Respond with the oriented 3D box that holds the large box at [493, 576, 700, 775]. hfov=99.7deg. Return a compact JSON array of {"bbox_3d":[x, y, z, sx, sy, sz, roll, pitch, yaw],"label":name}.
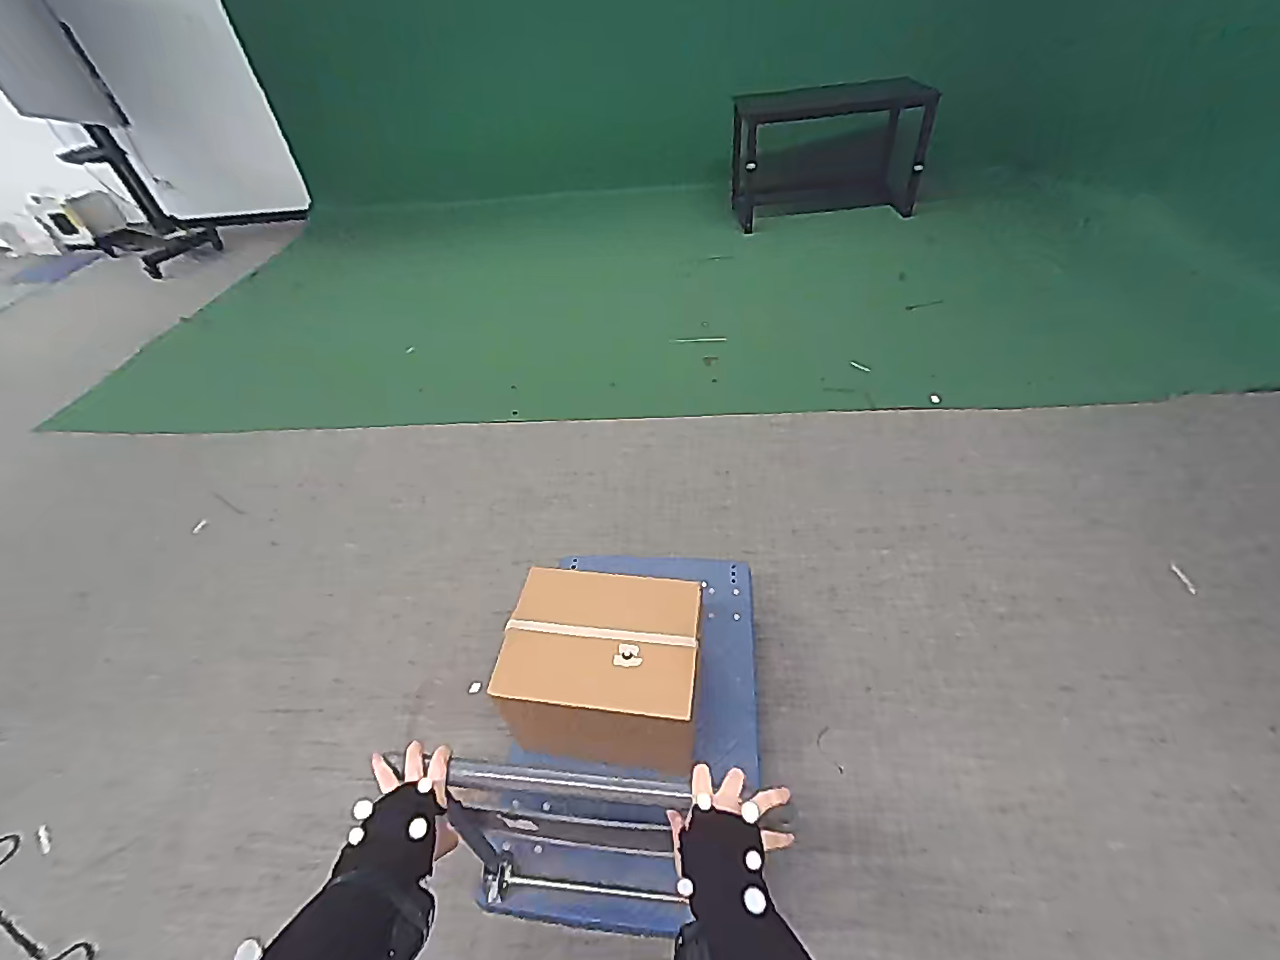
[{"bbox_3d":[-0.074,0.452,1.259,0.408,0.320,0.320,4,44,8],"label":"large box"}]
